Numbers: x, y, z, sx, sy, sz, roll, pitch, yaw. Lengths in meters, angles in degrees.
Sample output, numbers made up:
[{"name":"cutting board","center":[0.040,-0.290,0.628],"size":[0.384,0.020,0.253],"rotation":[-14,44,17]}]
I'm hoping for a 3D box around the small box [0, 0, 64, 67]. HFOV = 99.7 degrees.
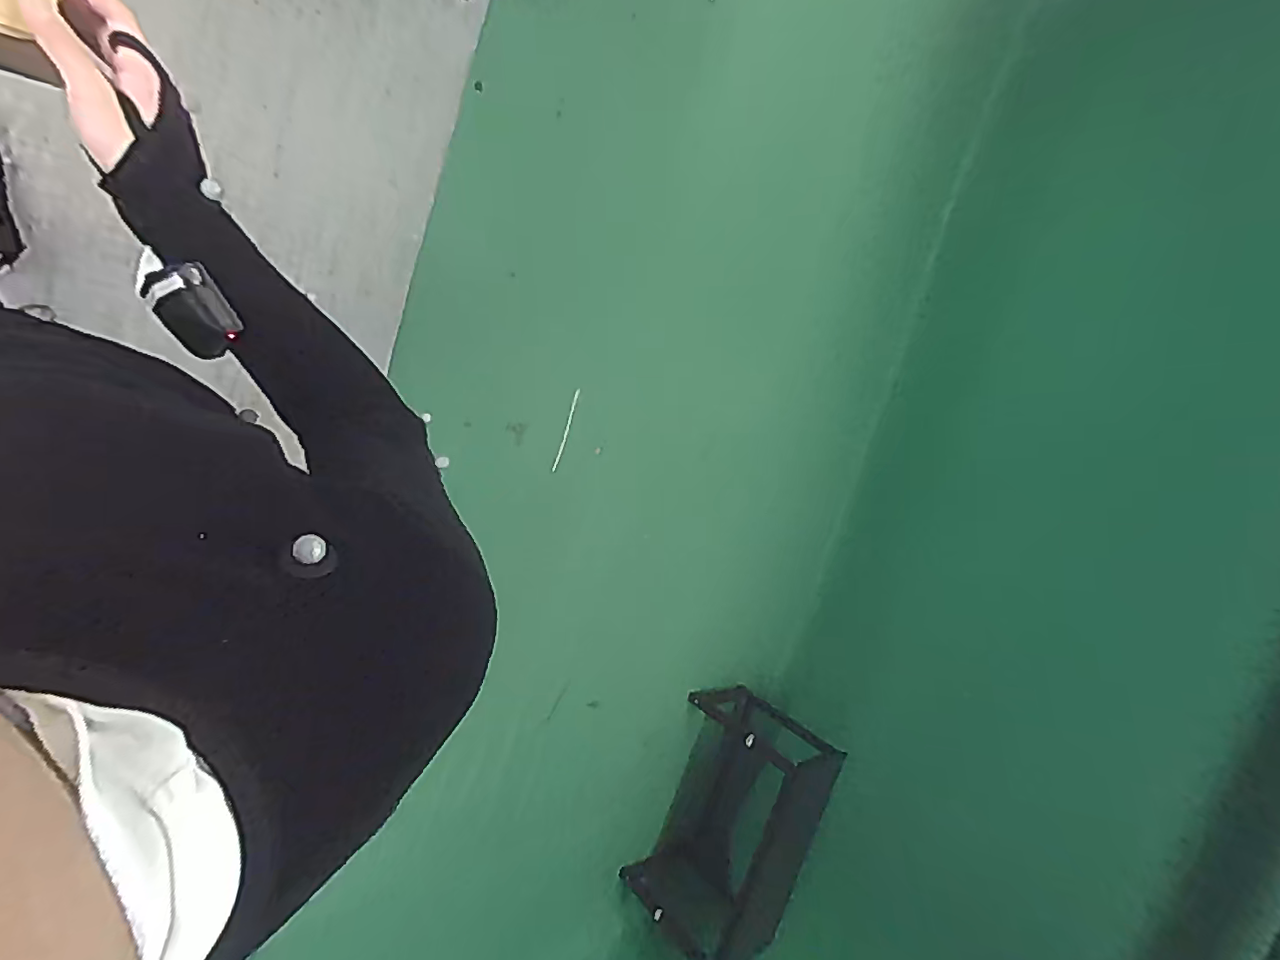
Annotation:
[{"name":"small box","center":[-0.503,-0.409,0.348],"size":[0.168,0.176,0.179],"rotation":[-5,111,-43]}]
